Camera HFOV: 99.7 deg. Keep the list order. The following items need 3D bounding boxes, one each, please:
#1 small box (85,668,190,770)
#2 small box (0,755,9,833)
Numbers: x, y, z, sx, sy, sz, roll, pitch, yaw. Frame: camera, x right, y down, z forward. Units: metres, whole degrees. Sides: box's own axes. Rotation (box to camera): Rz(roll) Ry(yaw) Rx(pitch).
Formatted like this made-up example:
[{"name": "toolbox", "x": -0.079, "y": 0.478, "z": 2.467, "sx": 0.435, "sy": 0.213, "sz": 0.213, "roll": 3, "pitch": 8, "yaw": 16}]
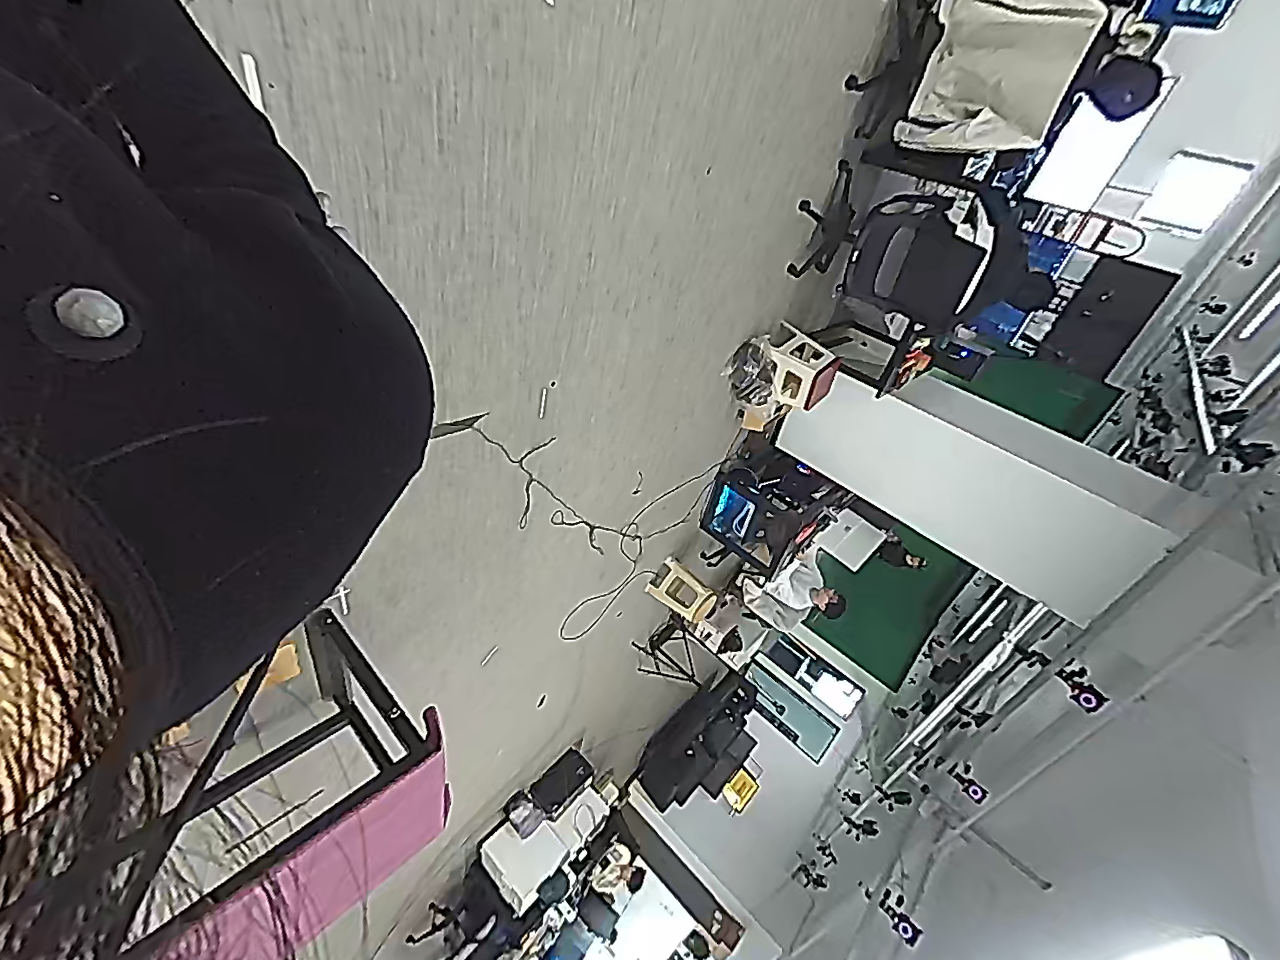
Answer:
[{"name": "small box", "x": -1.454, "y": 0.687, "z": 1.569, "sx": 0.168, "sy": 0.176, "sz": 0.179, "roll": -27, "pitch": 141, "yaw": -43}, {"name": "small box", "x": -1.686, "y": 0.787, "z": 1.316, "sx": 0.179, "sy": 0.176, "sz": 0.168, "roll": -9, "pitch": 128, "yaw": -56}]
